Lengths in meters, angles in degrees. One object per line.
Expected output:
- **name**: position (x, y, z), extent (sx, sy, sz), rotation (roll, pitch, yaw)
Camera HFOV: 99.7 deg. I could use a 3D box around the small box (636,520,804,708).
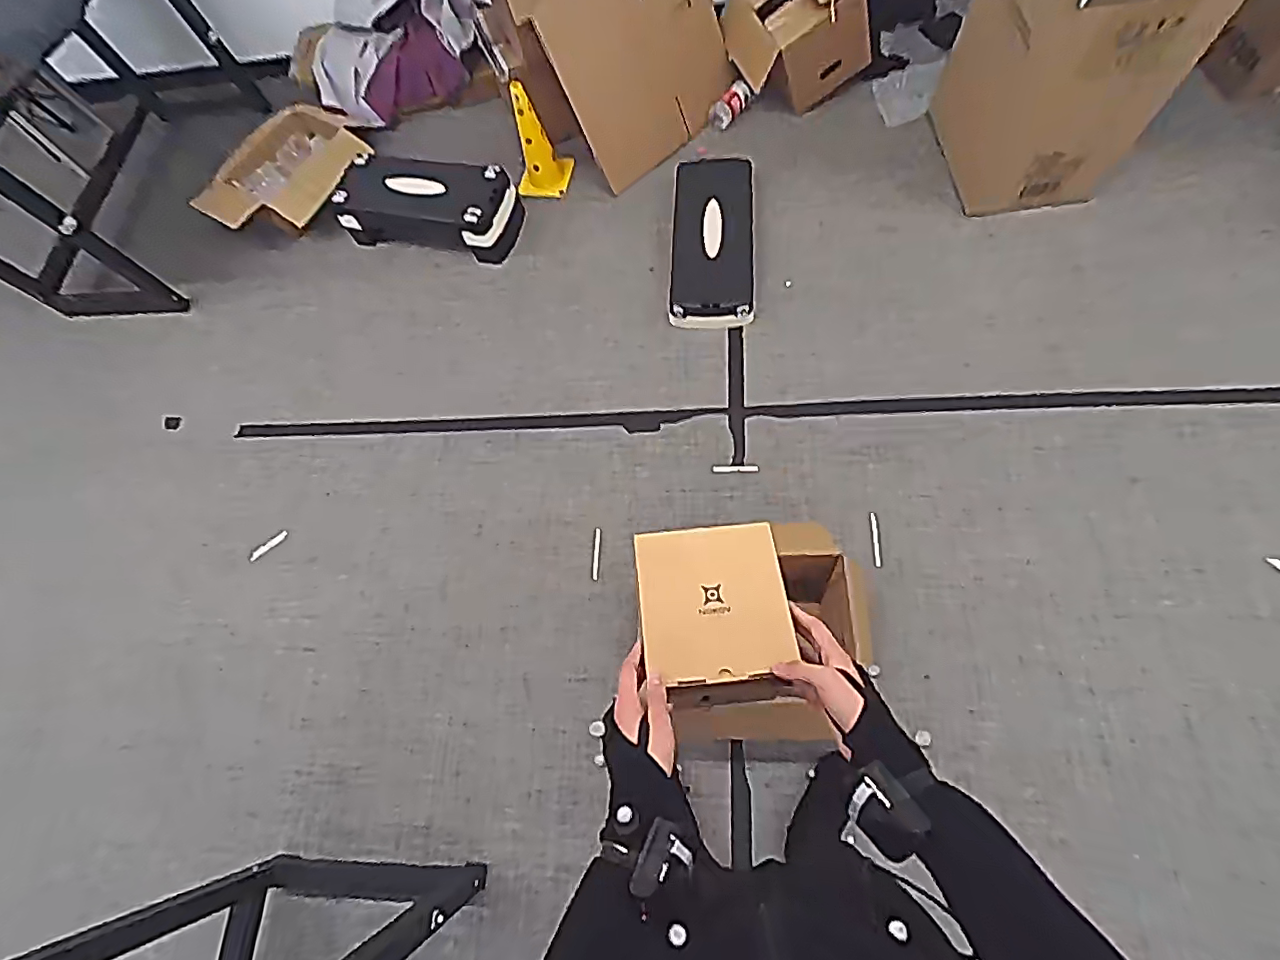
- **small box**: position (0.082, 0.168, 0.663), extent (0.168, 0.176, 0.179), rotation (-5, 60, -2)
